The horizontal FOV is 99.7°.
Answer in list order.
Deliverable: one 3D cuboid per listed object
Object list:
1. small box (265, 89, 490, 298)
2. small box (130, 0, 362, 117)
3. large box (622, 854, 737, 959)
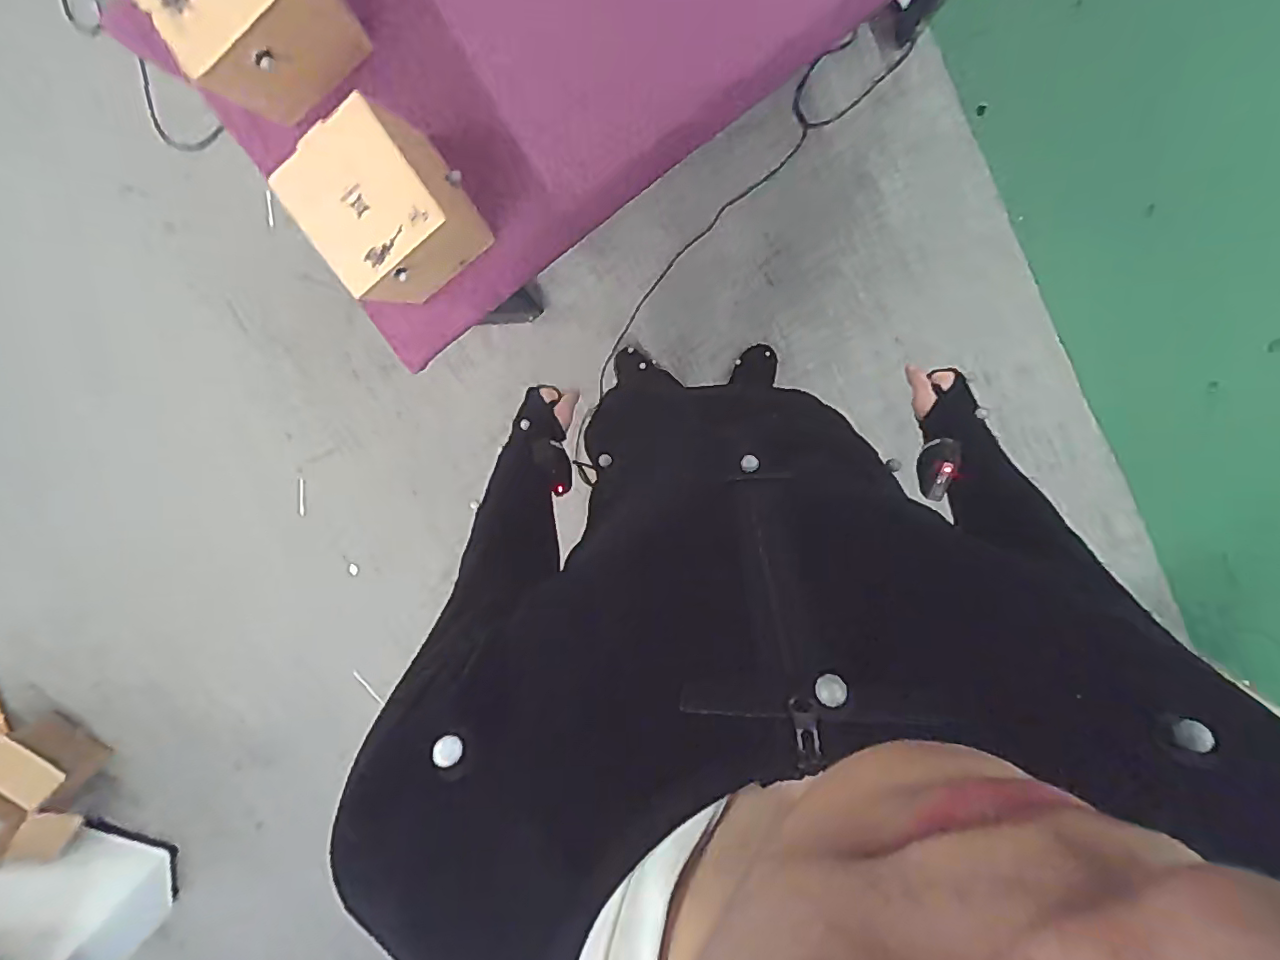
[{"bbox_3d":[-0.341,-0.367,0.737,0.168,0.176,0.179,-32,100,15],"label":"small box"},{"bbox_3d":[-0.498,-0.605,0.679,0.179,0.176,0.168,-31,103,14],"label":"small box"},{"bbox_3d":[0.150,1.682,2.047,0.408,0.320,0.320,1,109,5],"label":"large box"}]
